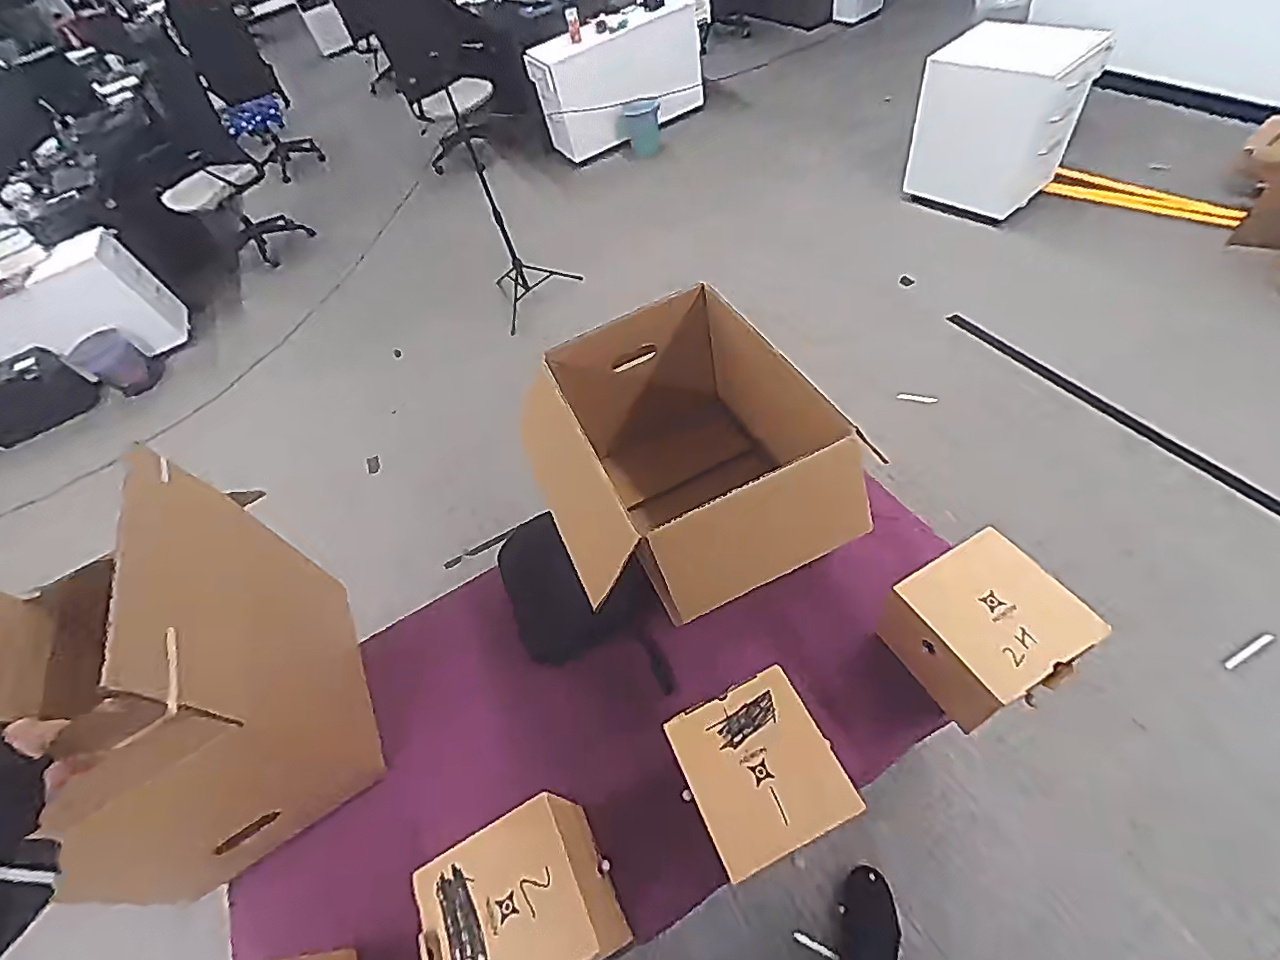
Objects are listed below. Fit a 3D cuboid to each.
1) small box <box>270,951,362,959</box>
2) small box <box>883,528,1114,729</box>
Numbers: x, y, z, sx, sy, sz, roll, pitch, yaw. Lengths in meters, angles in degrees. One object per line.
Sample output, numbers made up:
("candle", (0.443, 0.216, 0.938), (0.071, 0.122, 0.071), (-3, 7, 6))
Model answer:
("small box", (-0.431, 0.678, 0.608), (0.179, 0.176, 0.168), (-30, 53, -10))
("small box", (0.457, 0.203, 0.729), (0.168, 0.176, 0.179), (-29, 53, -6))
